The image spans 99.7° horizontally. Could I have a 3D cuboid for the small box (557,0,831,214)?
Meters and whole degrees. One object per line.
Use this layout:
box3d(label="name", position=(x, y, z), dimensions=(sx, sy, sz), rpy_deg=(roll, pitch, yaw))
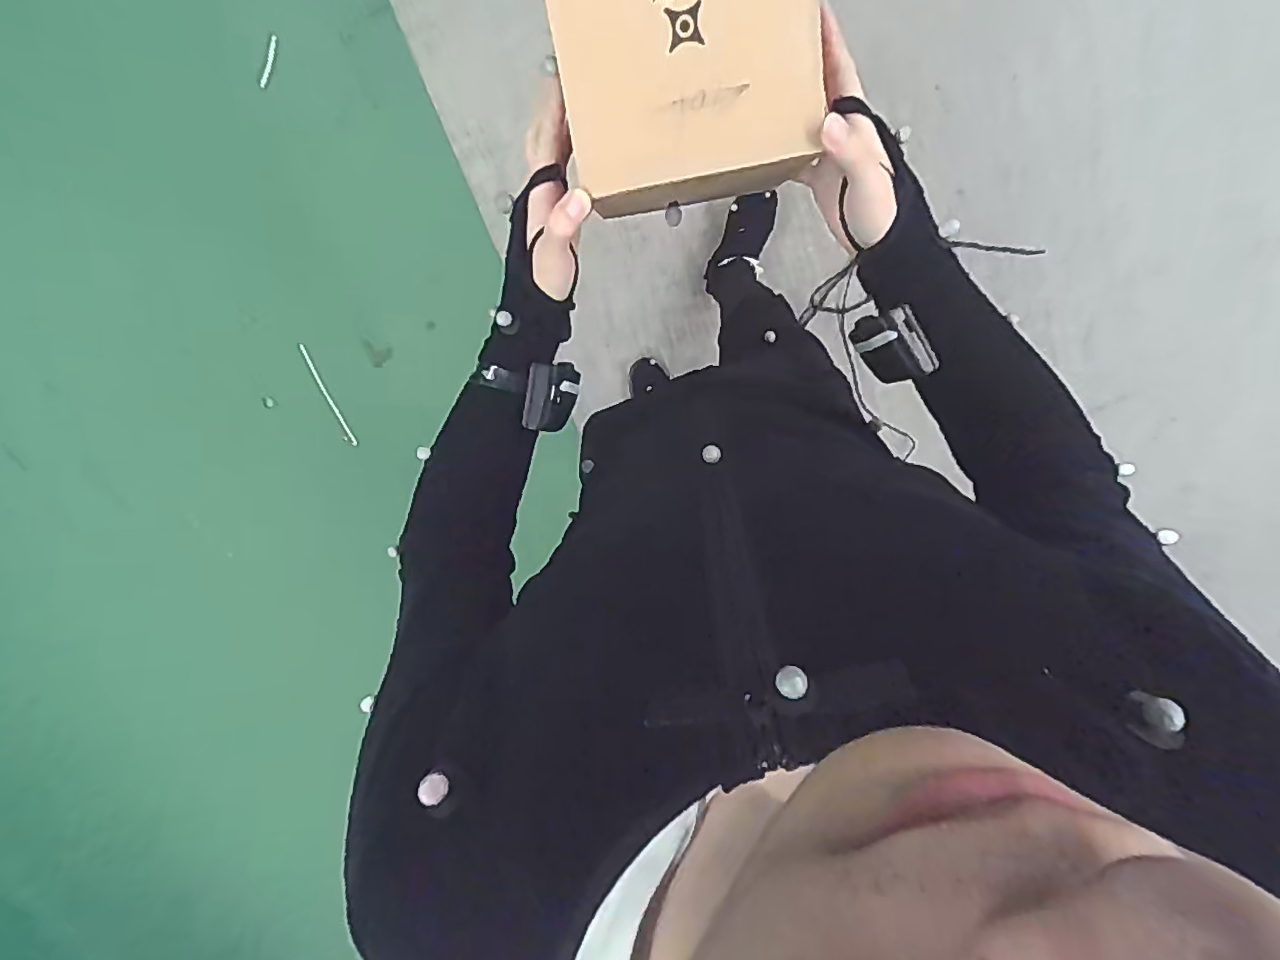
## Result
box3d(label="small box", position=(0.034, -0.315, 0.404), dimensions=(0.168, 0.176, 0.179), rpy_deg=(-8, 110, 6))
